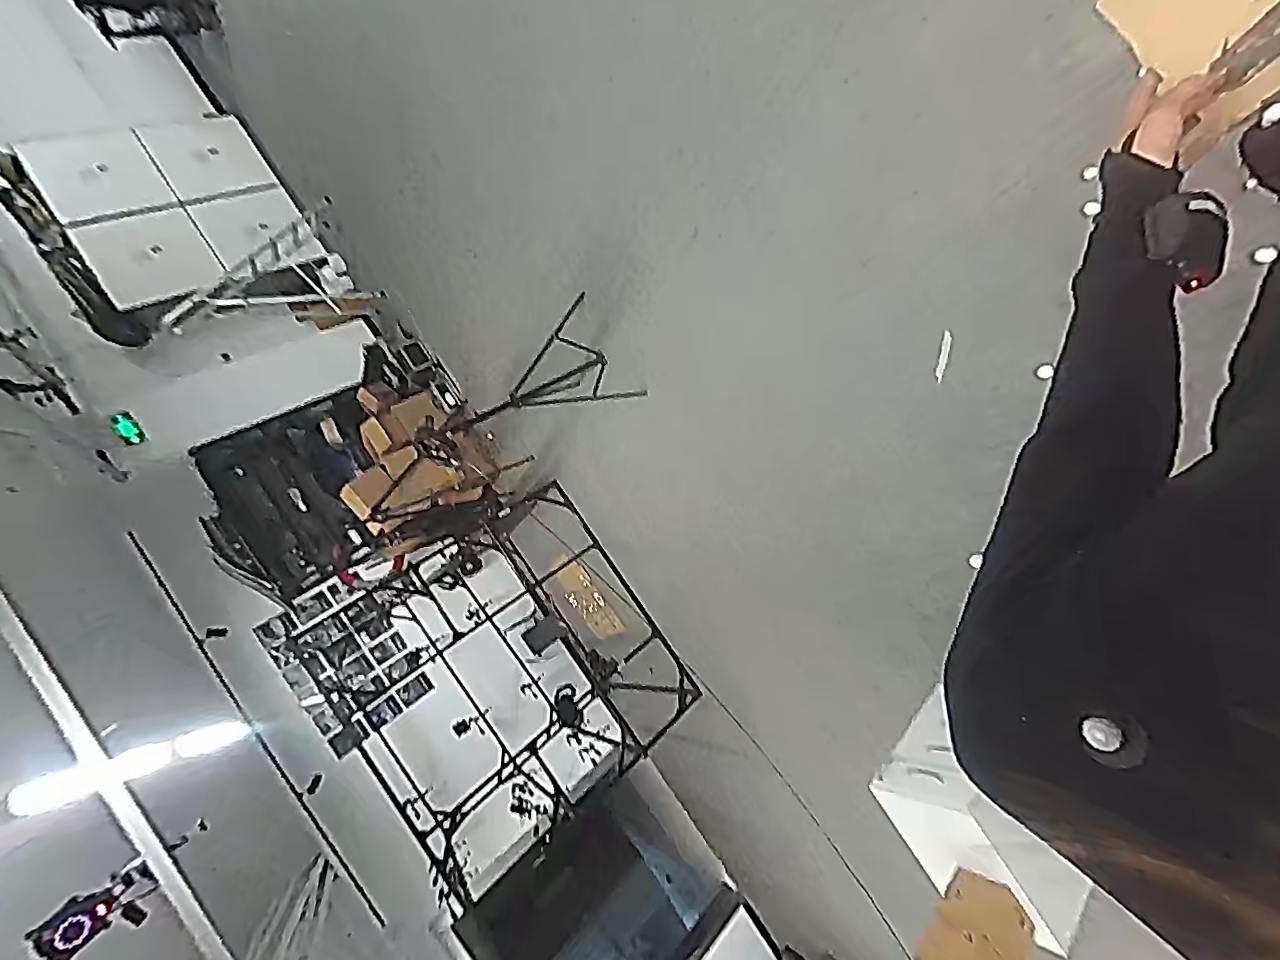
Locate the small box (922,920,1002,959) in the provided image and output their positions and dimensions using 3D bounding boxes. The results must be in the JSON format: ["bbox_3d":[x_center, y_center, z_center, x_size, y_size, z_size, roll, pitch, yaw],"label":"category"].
[{"bbox_3d":[0.960,1.450,1.579,0.179,0.176,0.168,53,152,2],"label":"small box"}]

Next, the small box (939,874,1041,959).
[{"bbox_3d":[1.075,1.365,1.660,0.168,0.176,0.179,56,151,-1],"label":"small box"}]

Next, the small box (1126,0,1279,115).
[{"bbox_3d":[0.984,-0.767,0.917,0.179,0.176,0.168,57,151,-2],"label":"small box"}]
